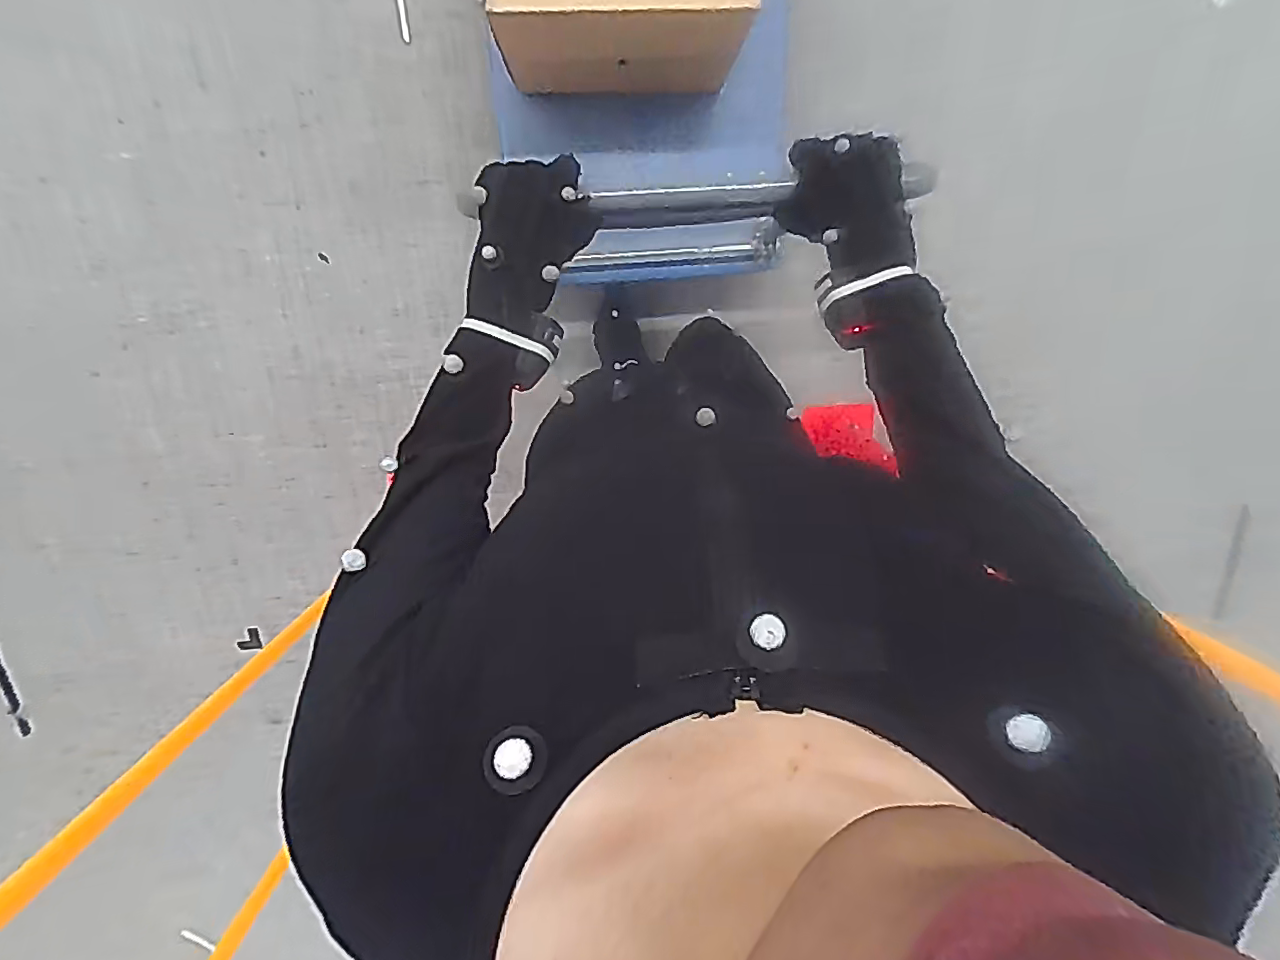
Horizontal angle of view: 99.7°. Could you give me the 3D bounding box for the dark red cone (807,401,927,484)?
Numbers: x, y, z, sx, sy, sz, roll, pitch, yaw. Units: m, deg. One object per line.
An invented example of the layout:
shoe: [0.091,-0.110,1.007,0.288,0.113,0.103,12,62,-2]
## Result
dark red cone: [0.559,-0.061,1.297,0.201,0.394,0.202,-5,107,-3]

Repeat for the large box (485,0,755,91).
large box: [-0.039,-0.879,0.891,0.408,0.320,0.320,-3,107,-1]
